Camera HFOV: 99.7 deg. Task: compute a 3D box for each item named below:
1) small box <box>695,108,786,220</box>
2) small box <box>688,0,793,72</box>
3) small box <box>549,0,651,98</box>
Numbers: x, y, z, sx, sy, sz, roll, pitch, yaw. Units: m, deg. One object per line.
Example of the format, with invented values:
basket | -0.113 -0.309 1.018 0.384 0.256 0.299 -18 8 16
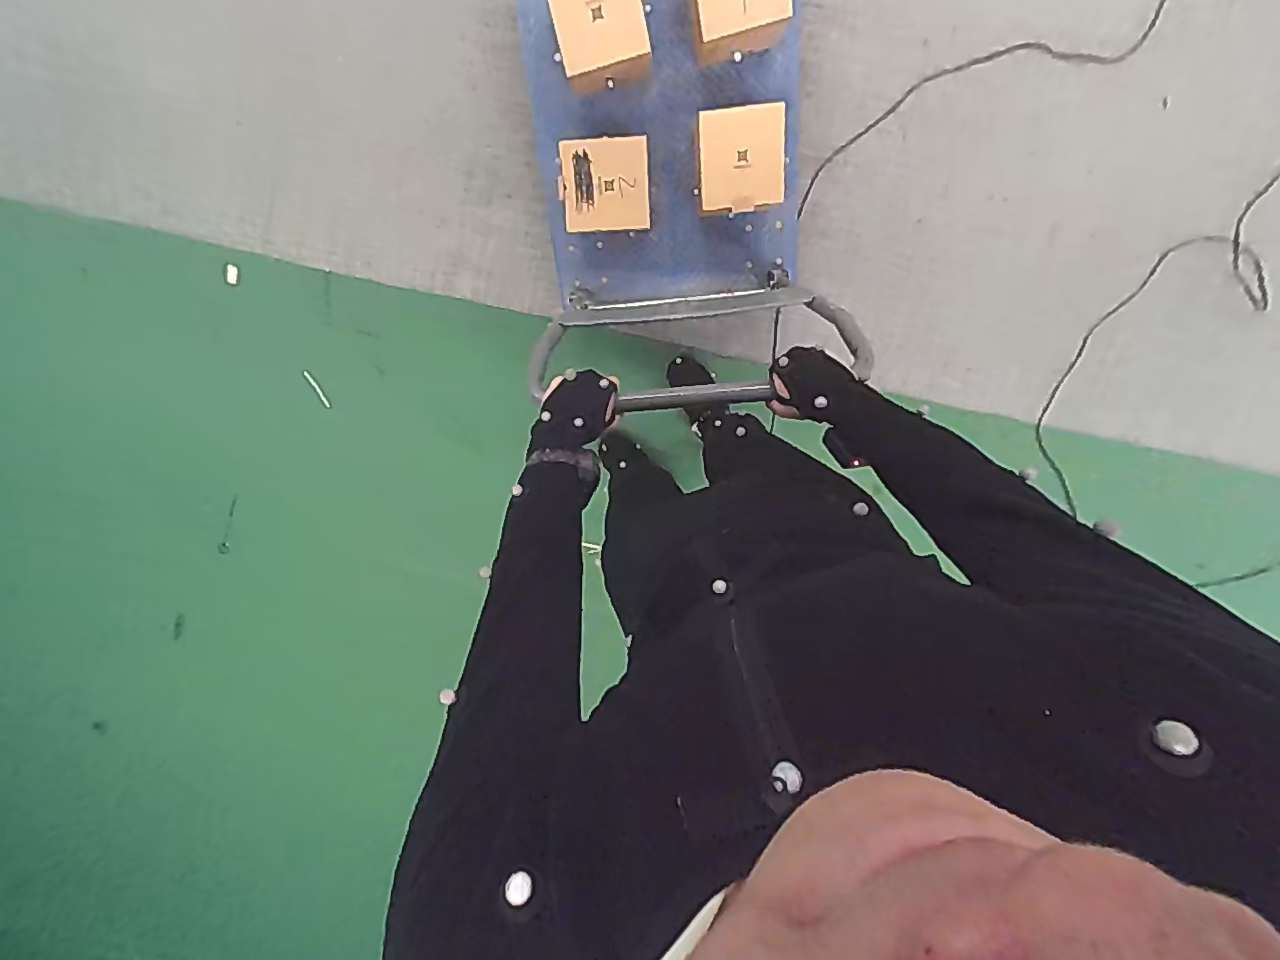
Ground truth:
small box | 0.206 -0.656 1.139 0.168 0.176 0.179 -4 114 4
small box | 0.182 -0.918 1.025 0.168 0.176 0.179 -11 113 7
small box | -0.074 -0.875 1.053 0.168 0.176 0.179 -12 112 6
